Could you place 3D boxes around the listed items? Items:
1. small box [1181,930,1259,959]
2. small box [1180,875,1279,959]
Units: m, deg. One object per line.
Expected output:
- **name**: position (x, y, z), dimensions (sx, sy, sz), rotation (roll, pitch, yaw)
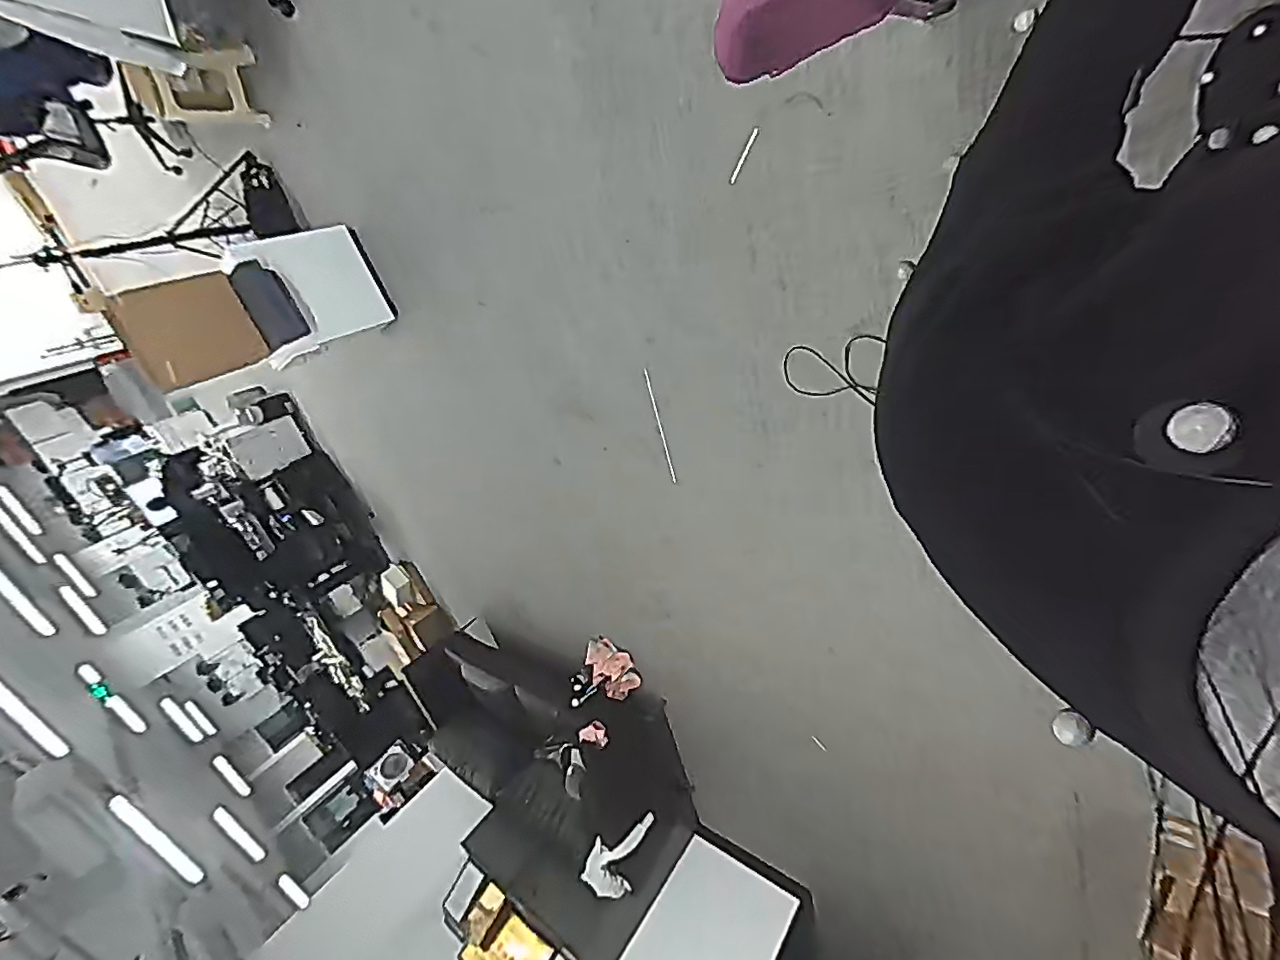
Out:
- **small box**: position (1.539, 1.338, 1.406), dimensions (0.168, 0.176, 0.179), rotation (10, 125, 39)
- **small box**: position (1.642, 1.266, 1.510), dimensions (0.168, 0.176, 0.179), rotation (9, 123, 38)
